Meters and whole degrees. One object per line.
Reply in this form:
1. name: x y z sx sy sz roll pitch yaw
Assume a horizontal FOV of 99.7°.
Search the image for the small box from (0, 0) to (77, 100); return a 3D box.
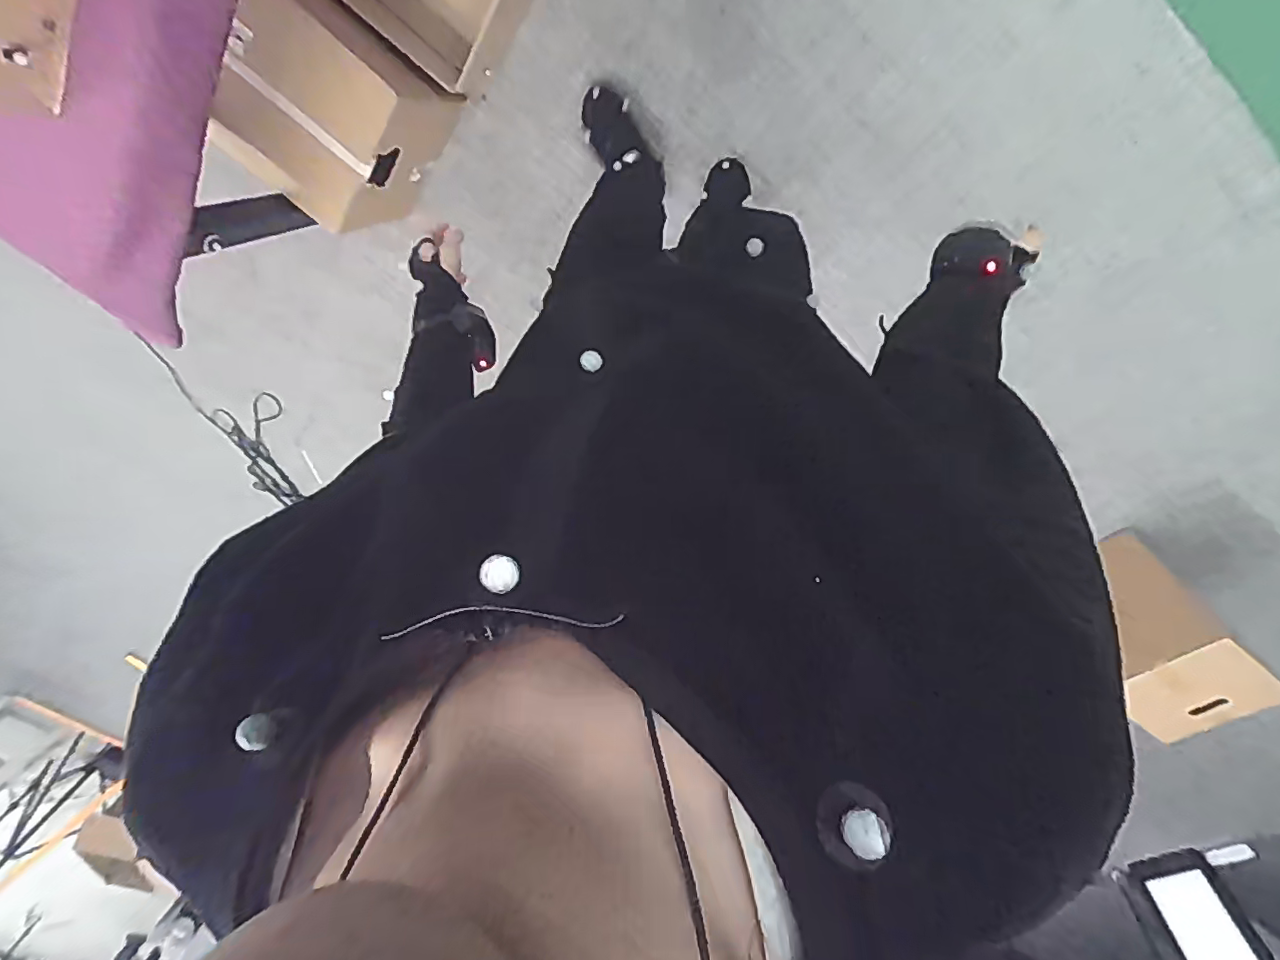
1. small box: -0.703 -0.490 0.503 0.179 0.176 0.168 38 120 -16
